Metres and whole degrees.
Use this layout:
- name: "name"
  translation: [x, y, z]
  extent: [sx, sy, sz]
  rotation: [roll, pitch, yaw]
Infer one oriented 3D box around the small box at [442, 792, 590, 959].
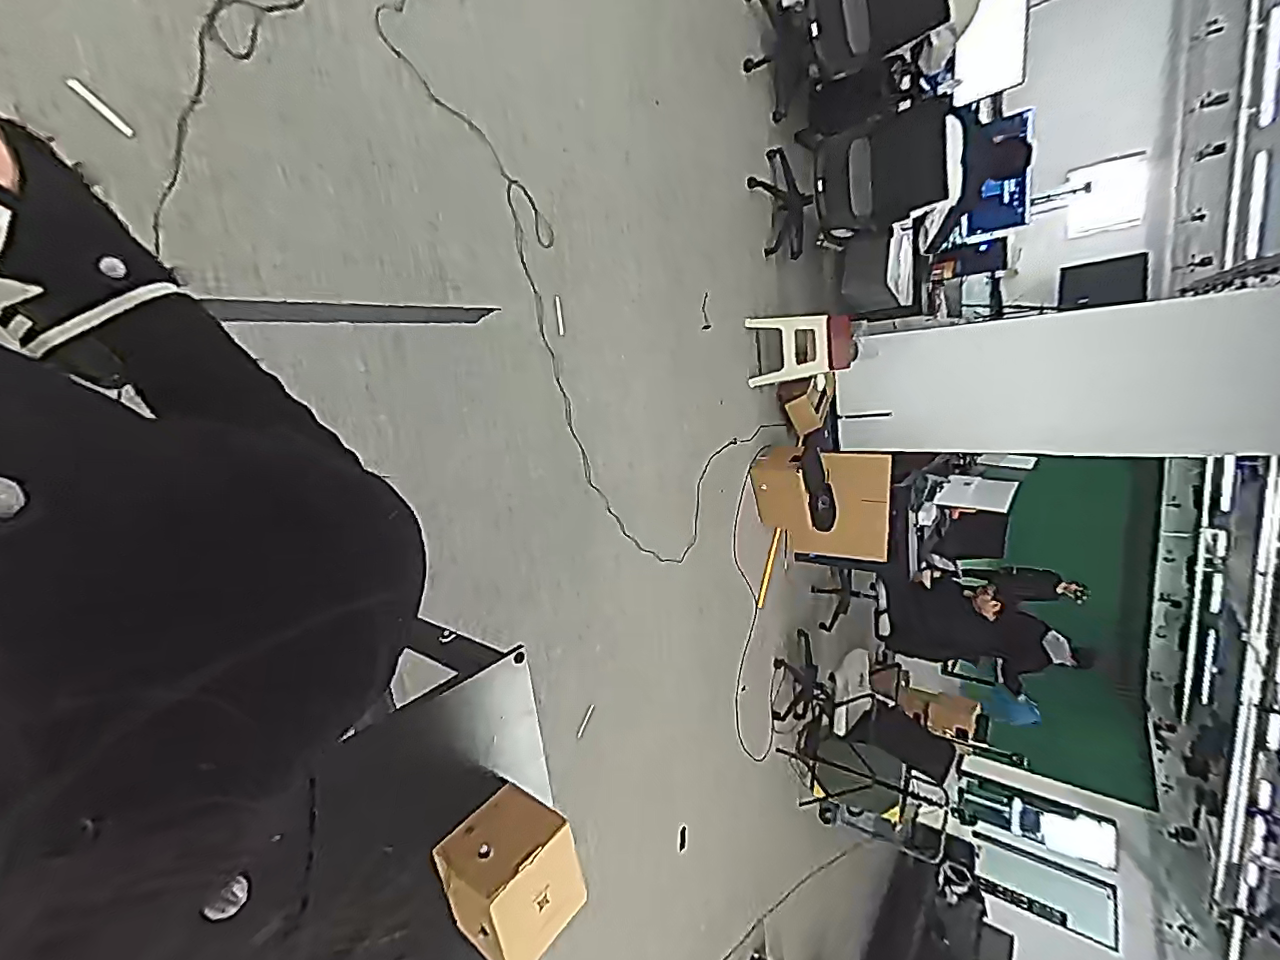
- name: "small box"
  translation: [-0.213, 0.674, 0.928]
  extent: [0.168, 0.176, 0.179]
  rotation: [-26, 113, -45]
